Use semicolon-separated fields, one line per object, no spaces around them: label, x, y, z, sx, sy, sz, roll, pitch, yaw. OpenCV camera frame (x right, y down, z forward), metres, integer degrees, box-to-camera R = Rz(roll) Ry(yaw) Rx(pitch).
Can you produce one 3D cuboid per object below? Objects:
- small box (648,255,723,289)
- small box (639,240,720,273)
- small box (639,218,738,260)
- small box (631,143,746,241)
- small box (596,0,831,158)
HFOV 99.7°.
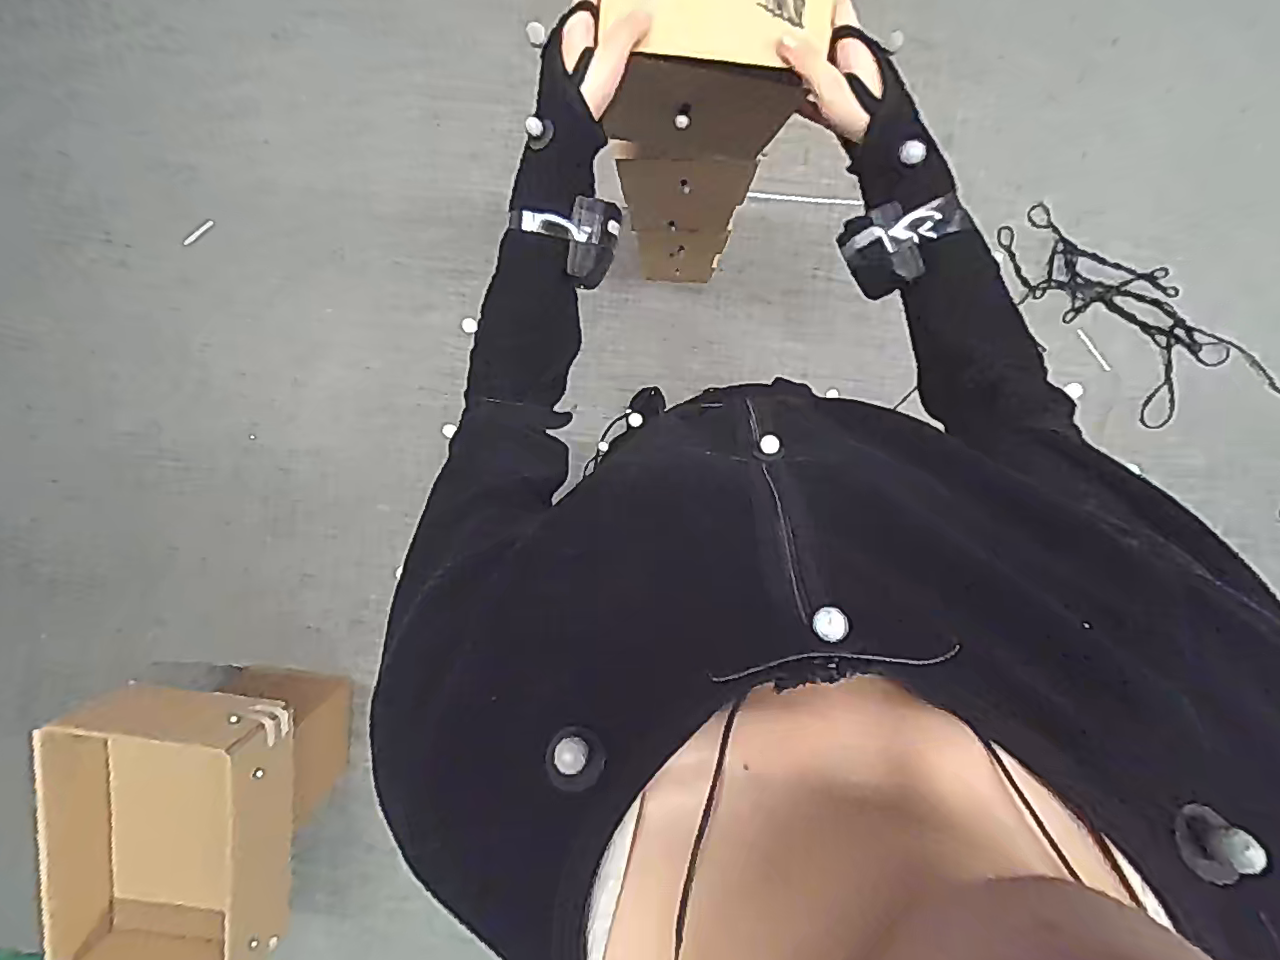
small box;0.115;-0.580;1.343;0.179;0.176;0.168;5;98;2
small box;0.096;-0.560;1.181;0.179;0.176;0.168;5;99;2
small box;0.091;-0.524;1.021;0.179;0.176;0.168;3;98;2
small box;0.077;-0.499;0.861;0.168;0.176;0.179;3;99;3
small box;0.057;-0.409;0.475;0.179;0.176;0.168;6;101;-5
